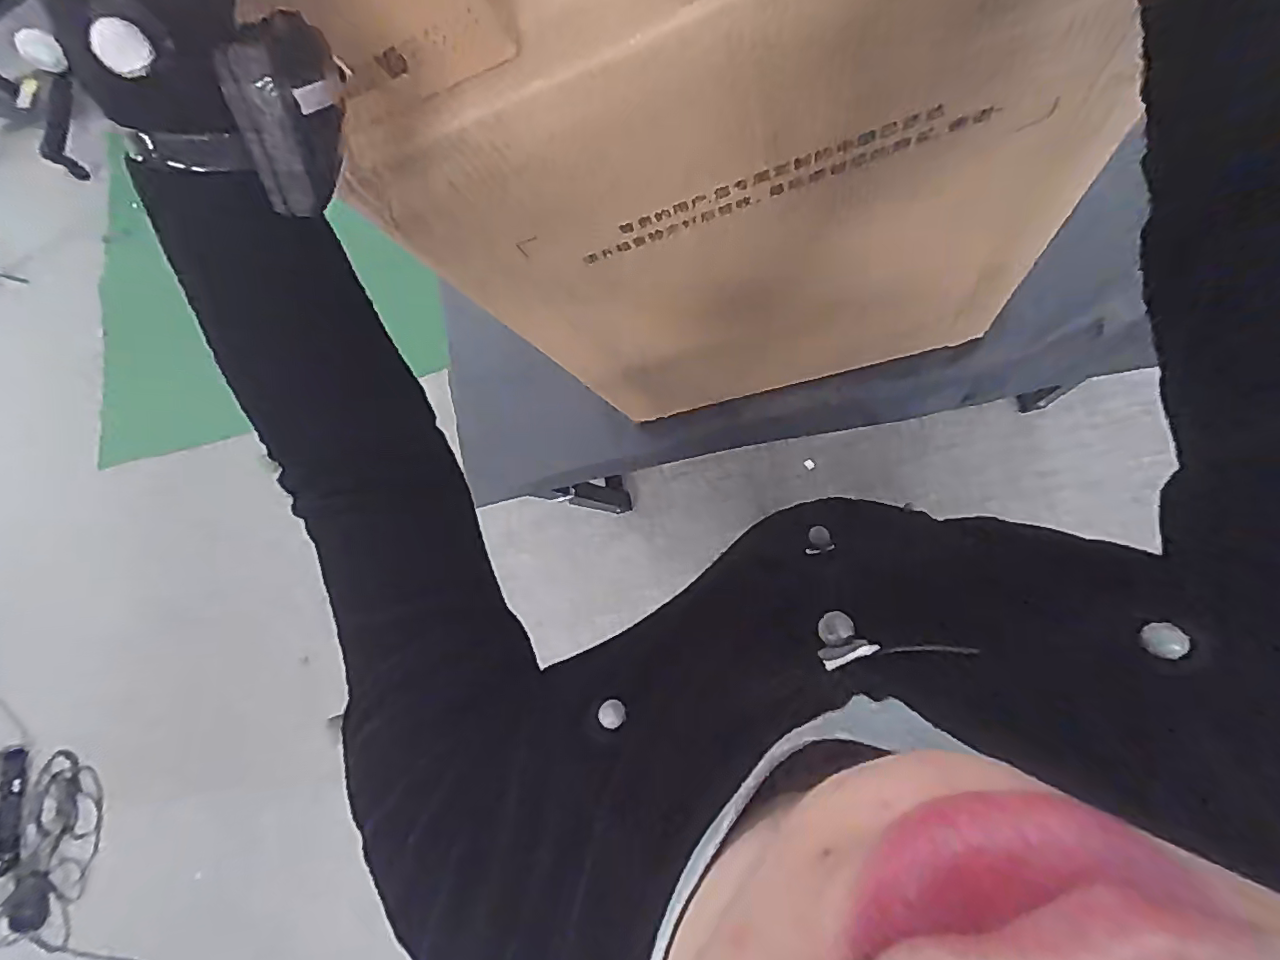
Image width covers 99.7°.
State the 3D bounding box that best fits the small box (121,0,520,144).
[{"bbox_3d":[-0.174,-0.307,0.245,0.168,0.176,0.179,-13,81,18],"label":"small box"}]
